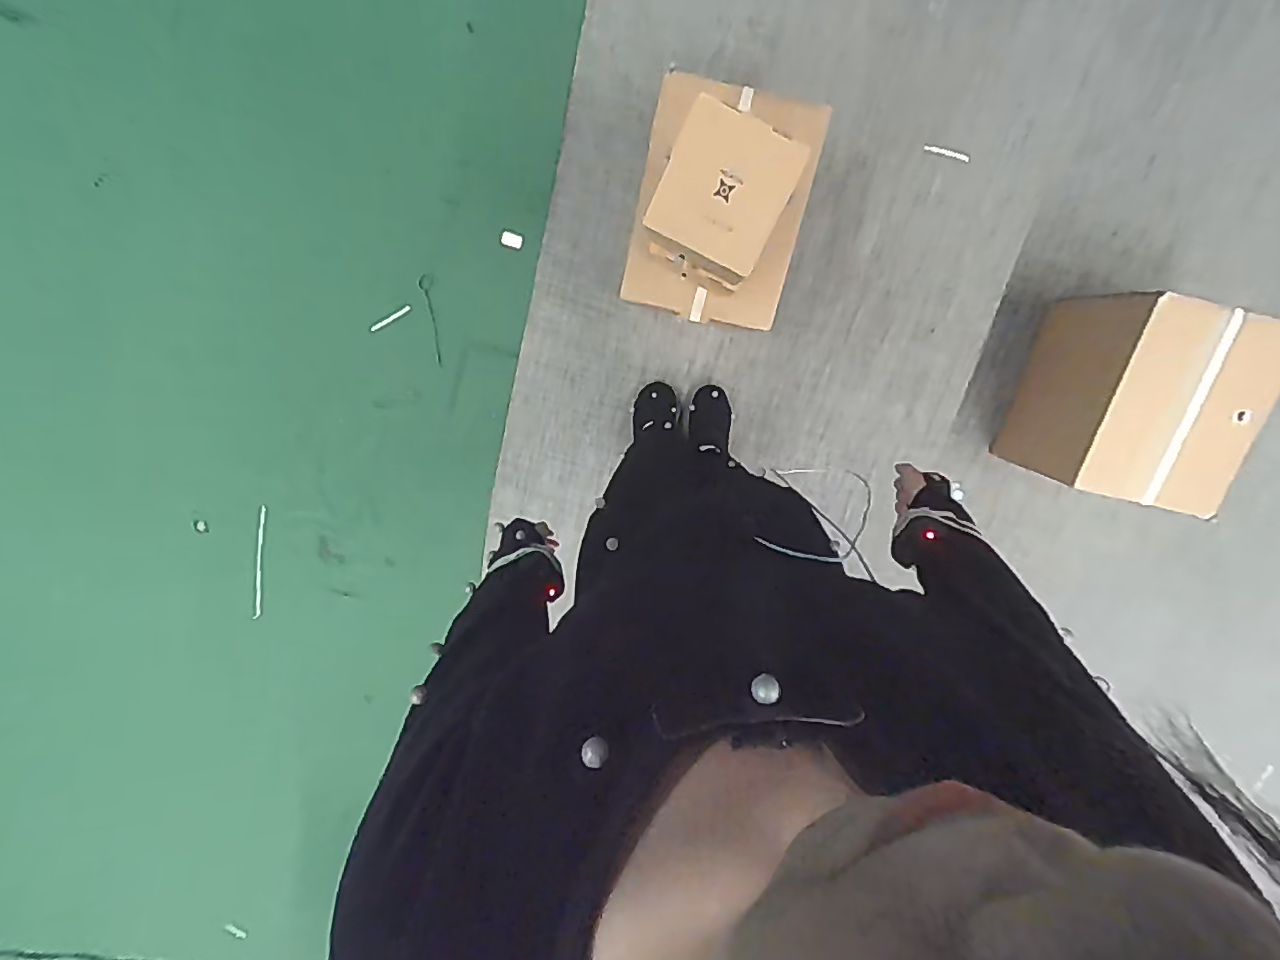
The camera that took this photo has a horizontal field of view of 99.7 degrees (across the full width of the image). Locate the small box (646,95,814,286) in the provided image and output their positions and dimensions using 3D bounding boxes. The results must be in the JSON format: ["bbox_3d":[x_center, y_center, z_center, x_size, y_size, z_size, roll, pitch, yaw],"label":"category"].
[{"bbox_3d":[0.120,-0.404,0.791,0.168,0.176,0.179,27,106,-4],"label":"small box"}]

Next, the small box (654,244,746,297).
[{"bbox_3d":[0.130,-0.439,0.951,0.168,0.176,0.179,23,106,-4],"label":"small box"}]

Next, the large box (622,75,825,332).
[{"bbox_3d":[0.157,-0.552,1.170,0.320,0.320,0.408,12,105,-1],"label":"large box"}]
